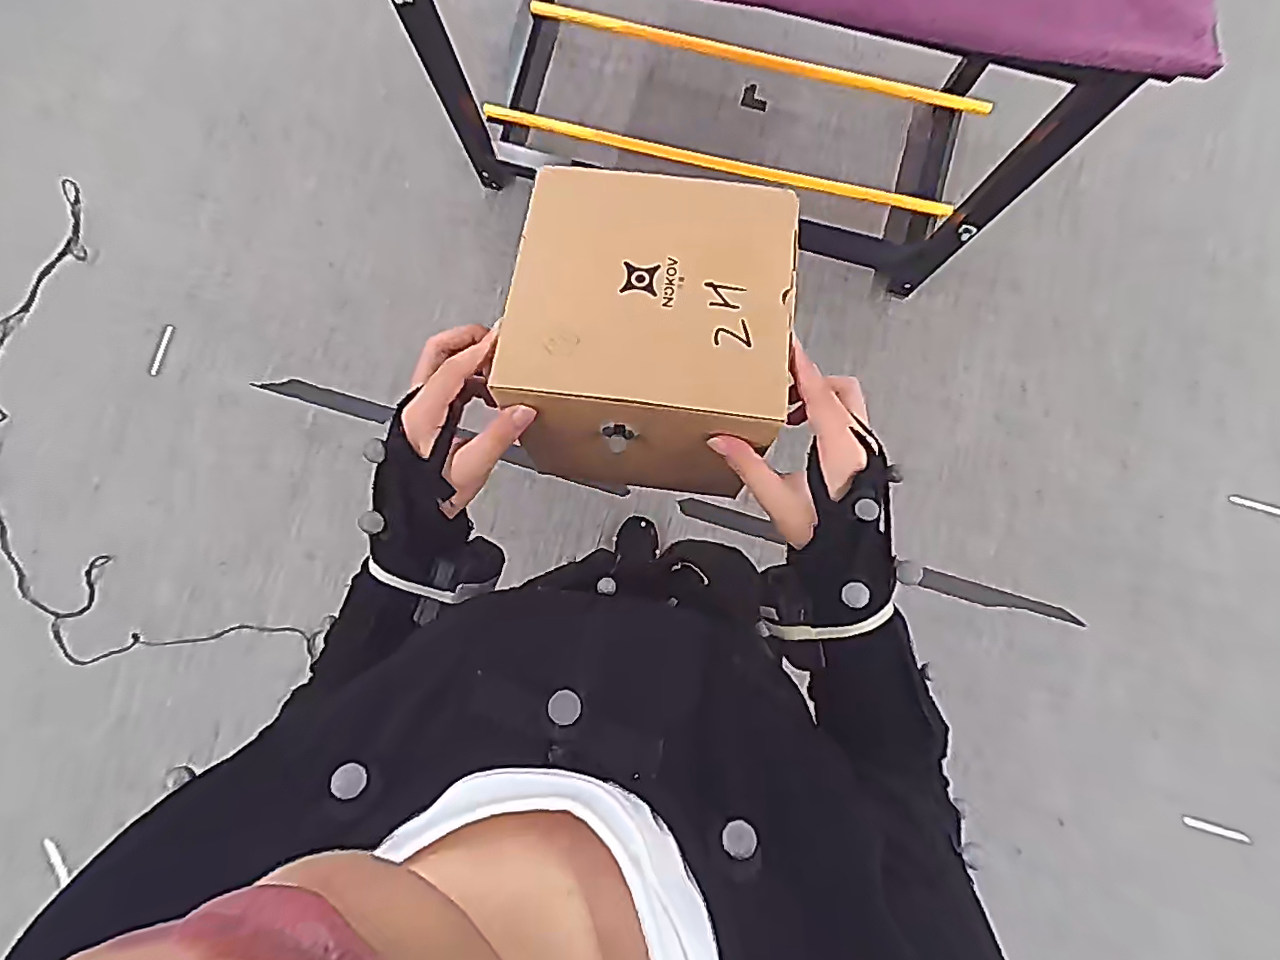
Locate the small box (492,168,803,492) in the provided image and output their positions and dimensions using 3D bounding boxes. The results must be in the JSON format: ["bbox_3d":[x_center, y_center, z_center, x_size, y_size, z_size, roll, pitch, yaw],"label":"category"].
[{"bbox_3d":[0.010,-0.097,0.408,0.179,0.176,0.168,7,73,2],"label":"small box"}]
